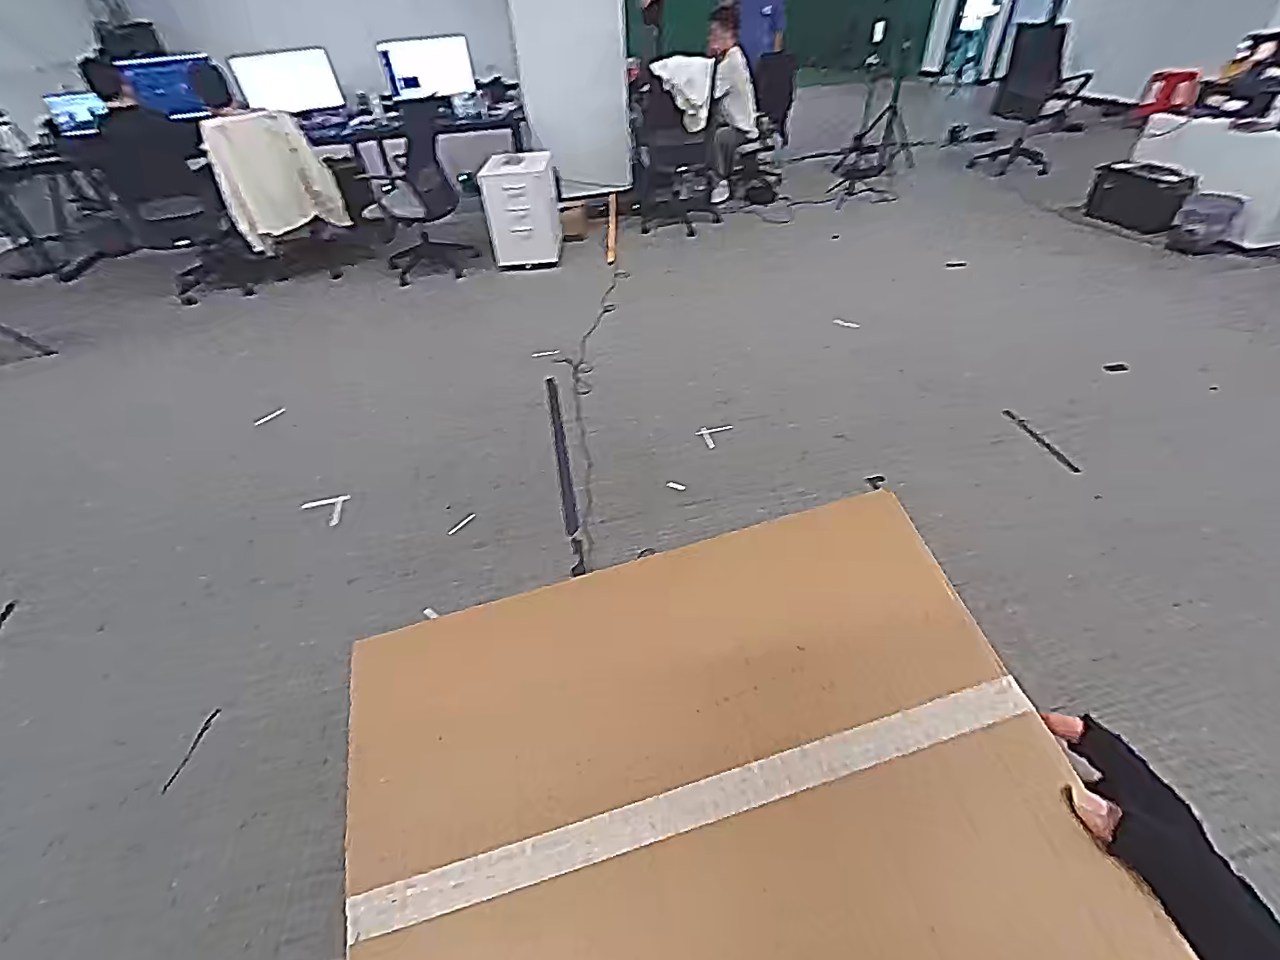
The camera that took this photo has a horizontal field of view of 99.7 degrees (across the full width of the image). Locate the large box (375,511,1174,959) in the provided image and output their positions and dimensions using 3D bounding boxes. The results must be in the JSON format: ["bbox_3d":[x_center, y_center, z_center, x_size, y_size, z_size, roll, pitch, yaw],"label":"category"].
[{"bbox_3d":[0.057,0.276,0.441,0.408,0.320,0.320,-15,56,-4],"label":"large box"}]
